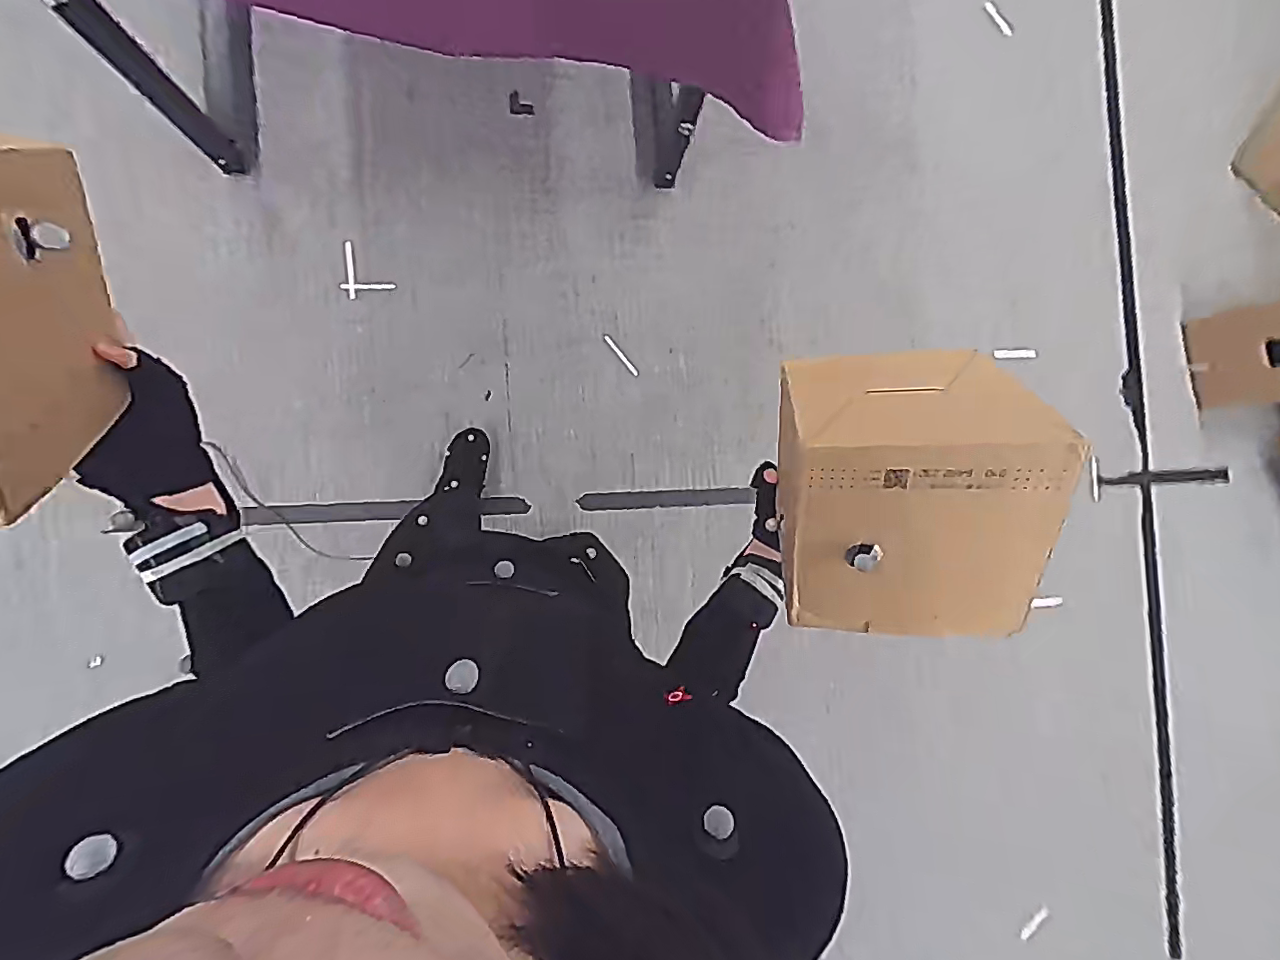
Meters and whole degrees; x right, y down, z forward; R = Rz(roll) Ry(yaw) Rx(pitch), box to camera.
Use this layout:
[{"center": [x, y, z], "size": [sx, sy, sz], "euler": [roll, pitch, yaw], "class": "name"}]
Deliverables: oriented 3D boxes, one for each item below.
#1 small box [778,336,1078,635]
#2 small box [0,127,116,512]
[{"center": [0.201, -0.004, 0.428], "size": [0.168, 0.179, 0.176], "euler": [1, 122, 10], "class": "small box"}, {"center": [-0.400, -0.087, 0.251], "size": [0.168, 0.179, 0.176], "euler": [-2, 118, -26], "class": "small box"}]
